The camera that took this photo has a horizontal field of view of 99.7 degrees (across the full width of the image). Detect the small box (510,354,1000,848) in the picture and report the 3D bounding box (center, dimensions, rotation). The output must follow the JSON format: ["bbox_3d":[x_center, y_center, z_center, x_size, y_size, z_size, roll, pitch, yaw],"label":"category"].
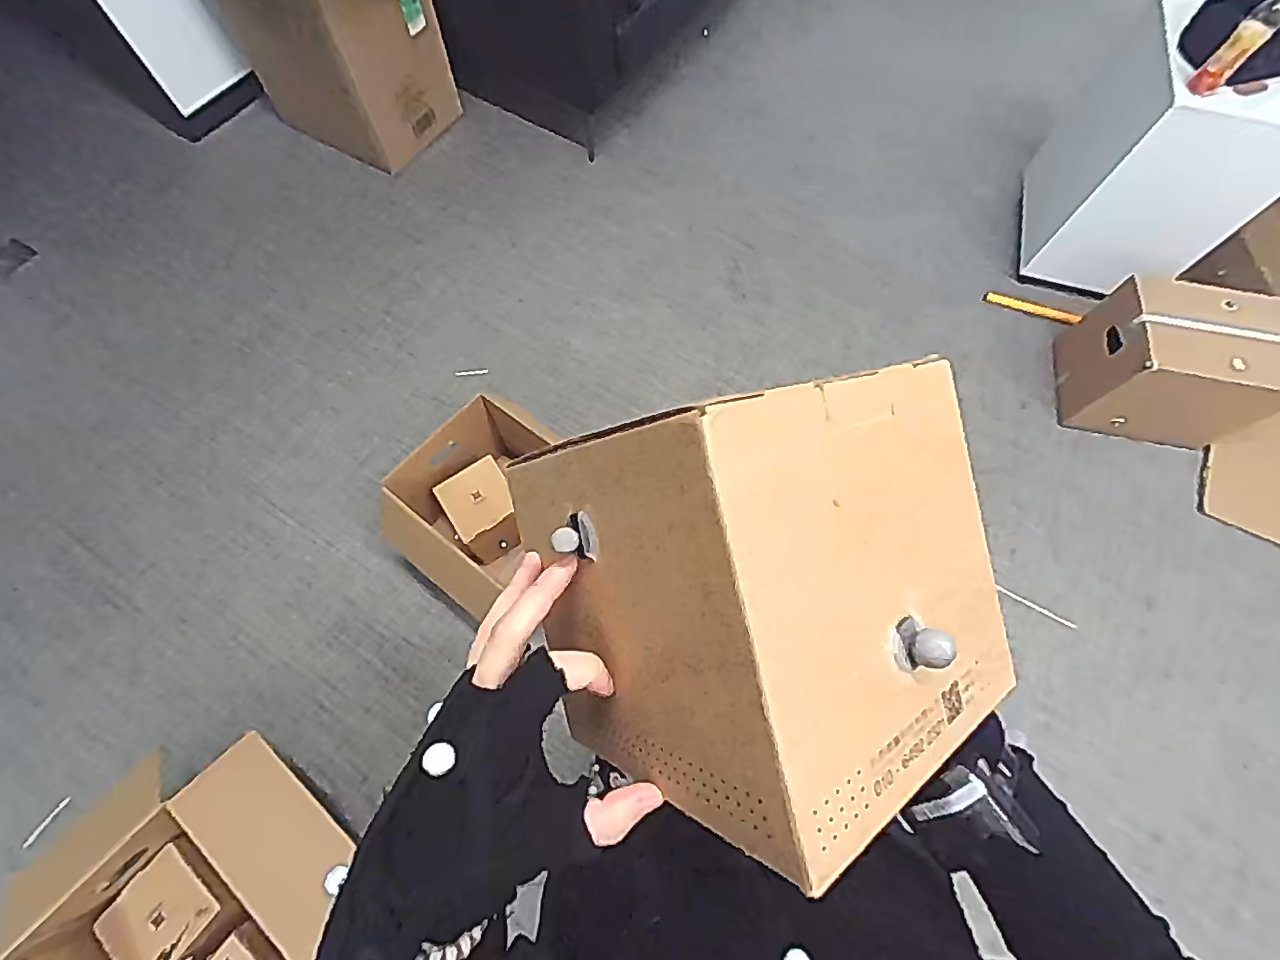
[{"bbox_3d":[0.052,0.044,0.288,0.168,0.179,0.176,-16,94,-34],"label":"small box"}]
